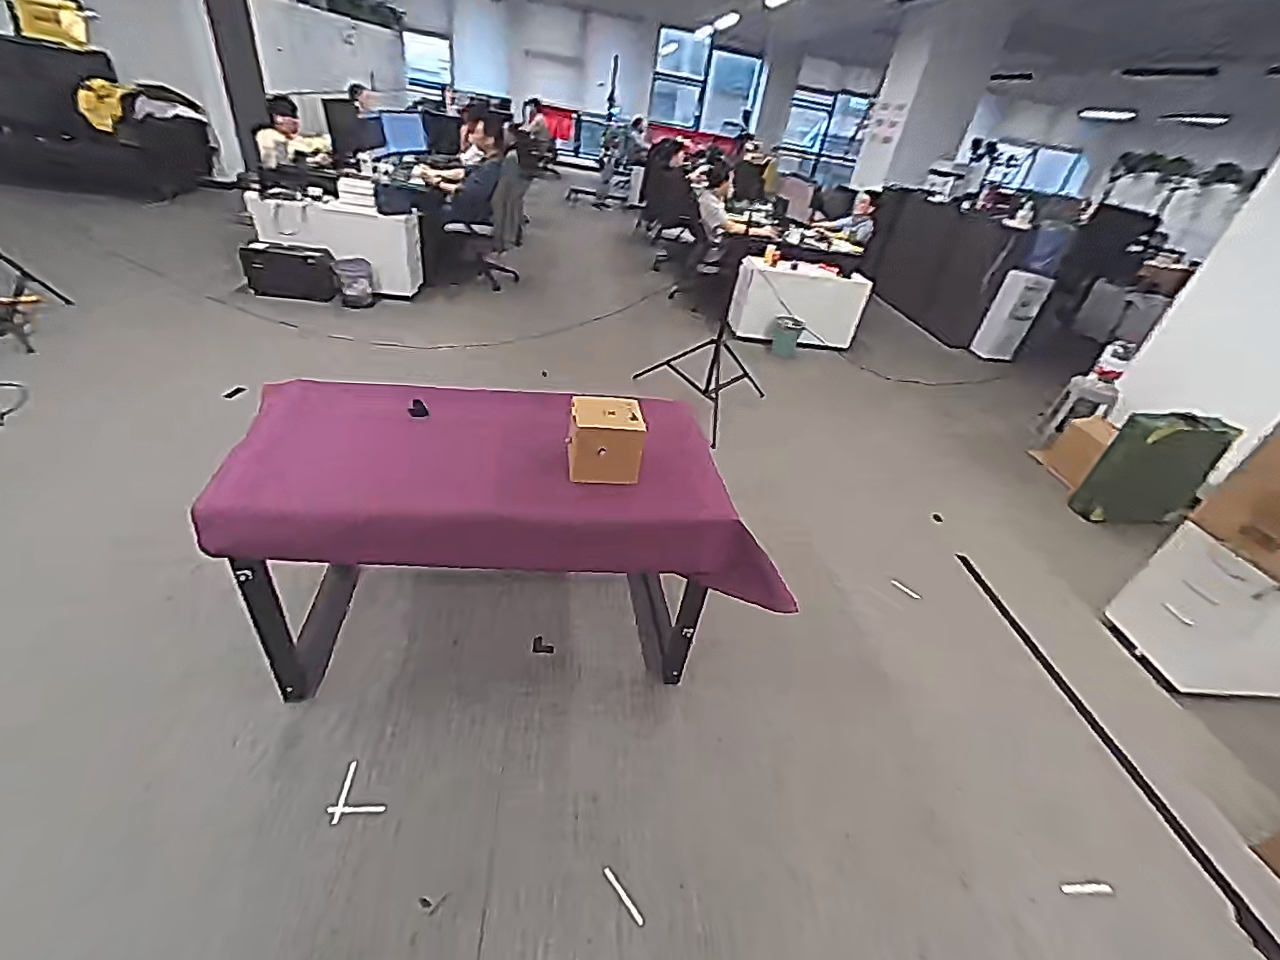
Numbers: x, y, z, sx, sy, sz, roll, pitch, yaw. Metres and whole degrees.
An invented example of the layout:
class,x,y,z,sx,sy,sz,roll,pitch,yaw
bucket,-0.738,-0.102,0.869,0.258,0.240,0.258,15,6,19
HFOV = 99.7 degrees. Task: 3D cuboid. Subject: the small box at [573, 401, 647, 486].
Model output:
class,x,y,z,sx,sy,sz,roll,pitch,yaw
small box,-0.087,-0.097,1.431,0.179,0.176,0.168,1,35,-11
